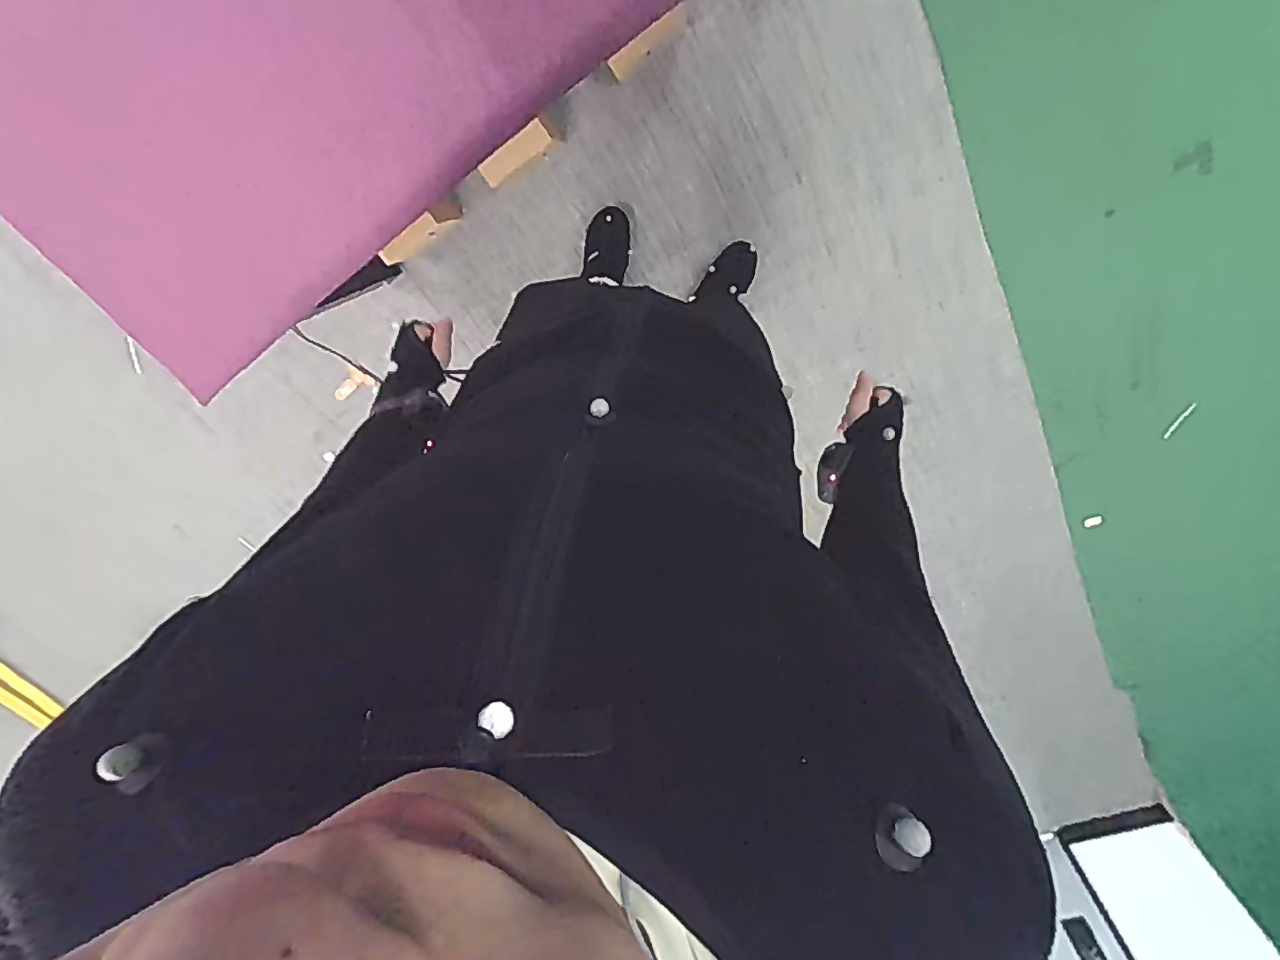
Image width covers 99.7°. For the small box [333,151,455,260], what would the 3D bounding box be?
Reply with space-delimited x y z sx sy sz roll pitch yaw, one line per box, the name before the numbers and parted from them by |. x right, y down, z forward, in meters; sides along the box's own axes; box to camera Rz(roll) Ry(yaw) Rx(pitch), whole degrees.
small box | -0.584 -0.664 1.310 0.179 0.176 0.168 -28 115 18

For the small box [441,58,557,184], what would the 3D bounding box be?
small box | -0.303 -0.797 1.214 0.179 0.176 0.168 -27 115 18

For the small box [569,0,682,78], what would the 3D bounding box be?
small box | -0.027 -0.962 1.099 0.179 0.176 0.168 -30 115 19
